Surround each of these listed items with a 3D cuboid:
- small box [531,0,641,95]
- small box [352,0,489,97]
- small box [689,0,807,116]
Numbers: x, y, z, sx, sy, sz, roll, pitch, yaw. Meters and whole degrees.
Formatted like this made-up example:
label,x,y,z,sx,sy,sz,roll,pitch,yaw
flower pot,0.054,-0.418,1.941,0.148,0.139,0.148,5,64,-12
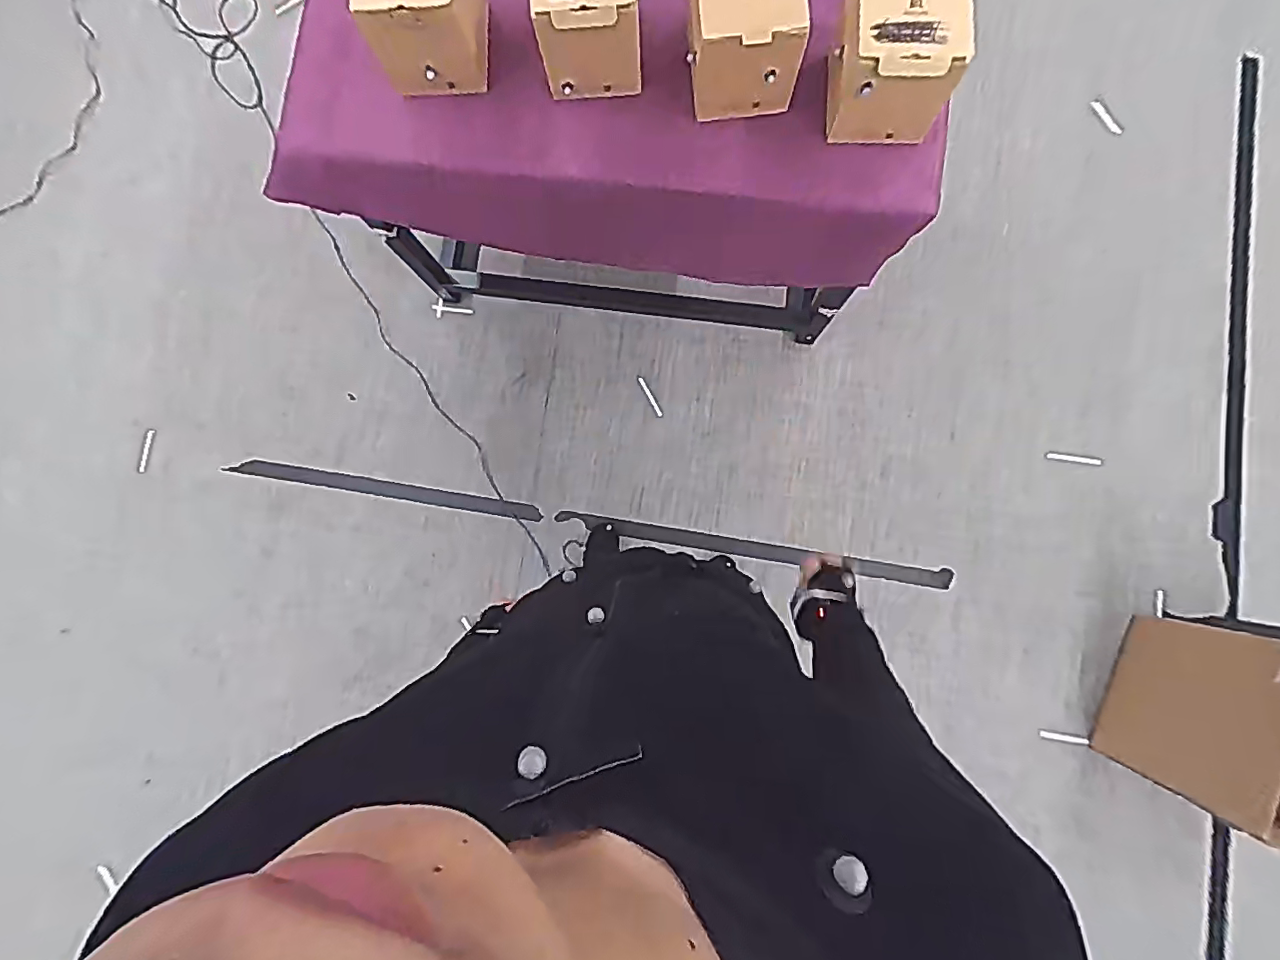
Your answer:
label,x,y,z,sx,sy,sz,roll,pitch,yaw
small box,-0.086,-0.794,0.921,0.168,0.176,0.179,-2,84,2
small box,-0.368,-0.810,0.935,0.168,0.176,0.179,-1,85,3
small box,0.172,-0.746,0.905,0.168,0.176,0.179,-4,84,2
